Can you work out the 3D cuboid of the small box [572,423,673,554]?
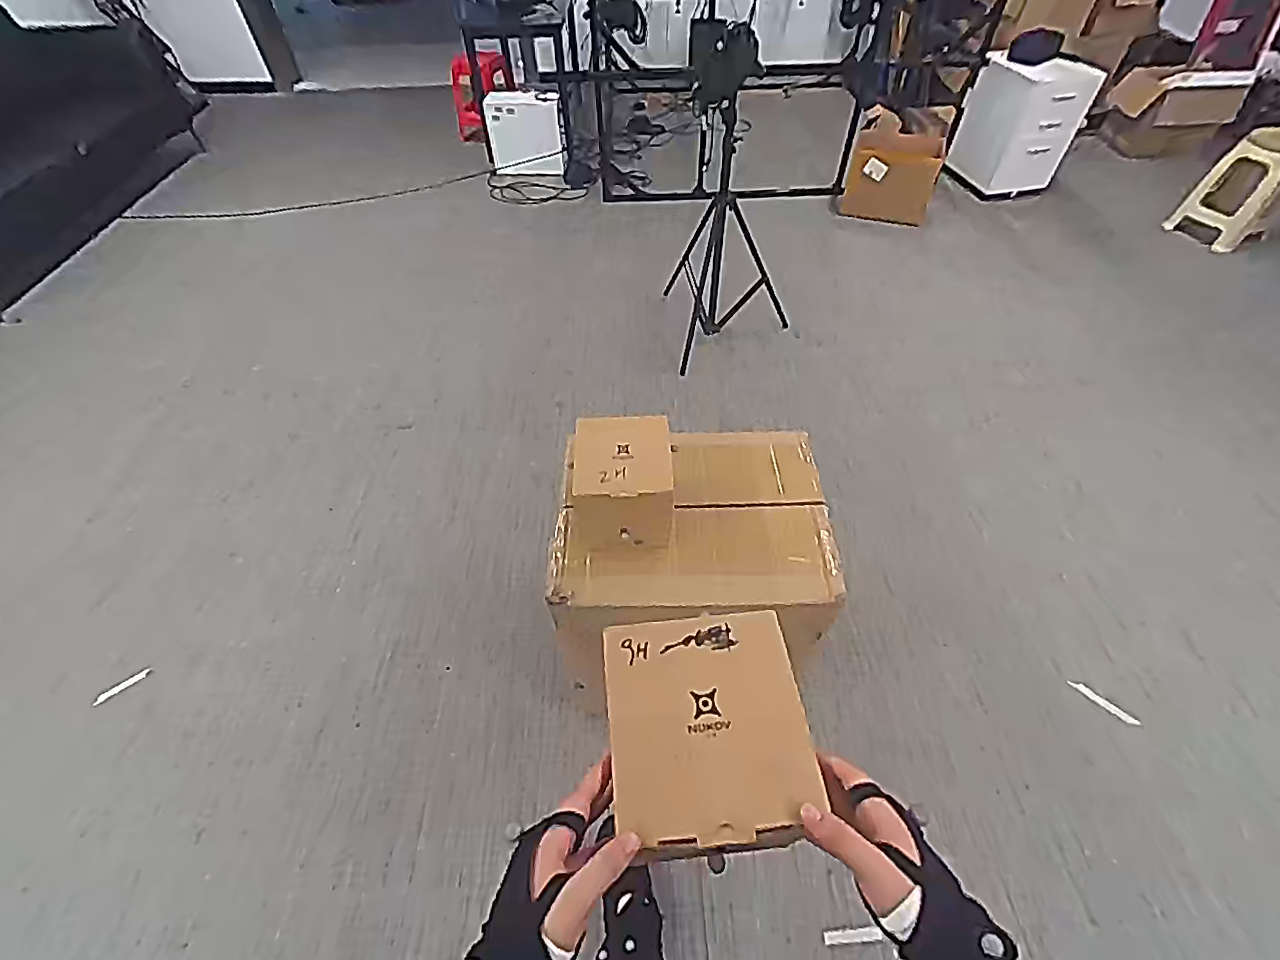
[{"bbox_3d":[-0.030,0.017,0.980,0.168,0.176,0.179,-2,52,-1],"label":"small box"}]
